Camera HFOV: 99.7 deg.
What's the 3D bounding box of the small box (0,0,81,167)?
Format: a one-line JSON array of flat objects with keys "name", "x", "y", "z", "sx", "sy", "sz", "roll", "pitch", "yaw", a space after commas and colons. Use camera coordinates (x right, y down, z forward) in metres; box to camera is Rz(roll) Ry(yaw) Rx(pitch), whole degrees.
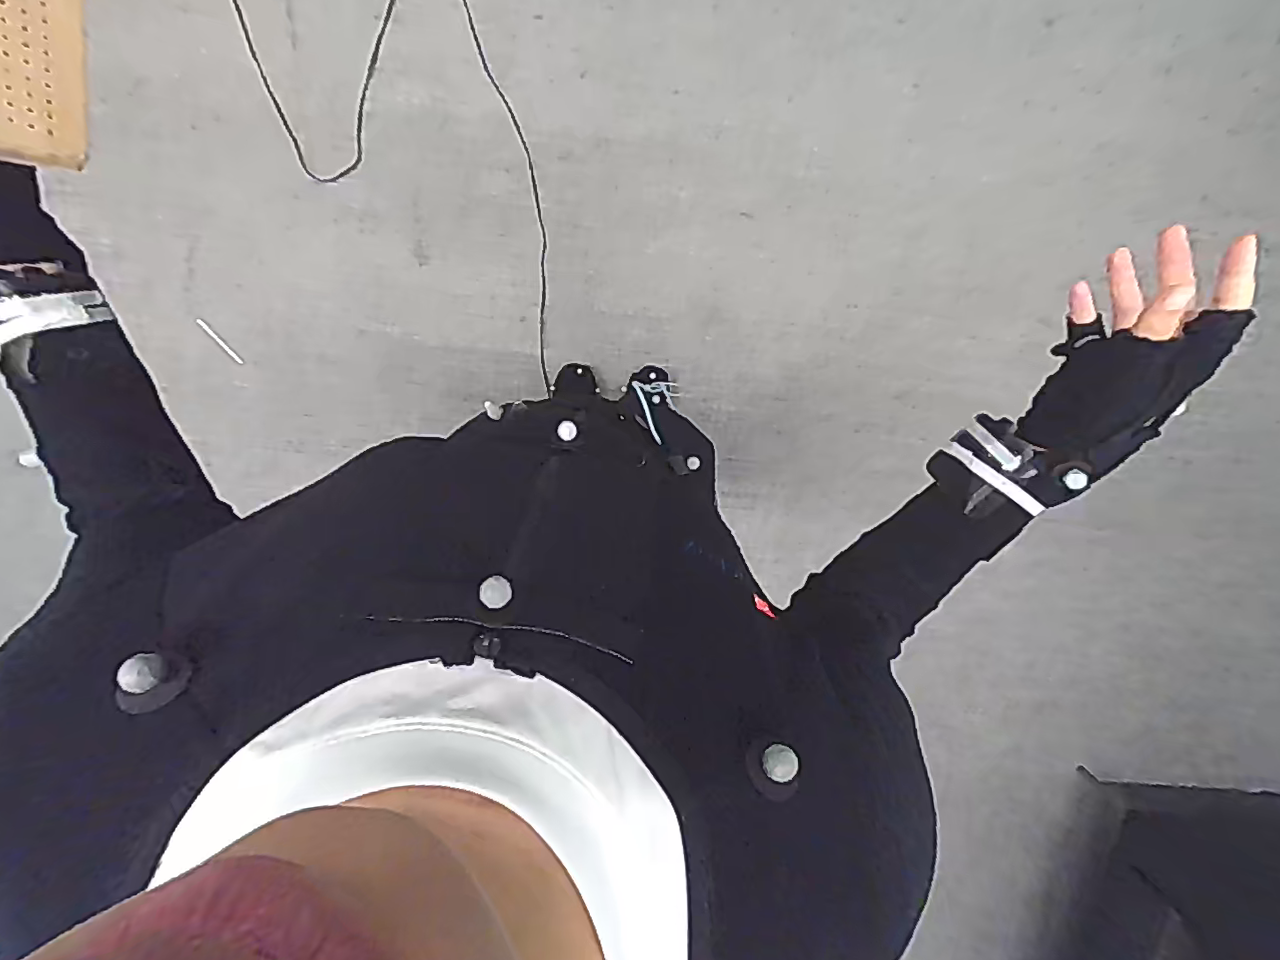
[{"name": "small box", "x": -0.347, "y": -0.242, "z": 0.188, "sx": 0.168, "sy": 0.176, "sz": 0.179, "roll": 18, "pitch": 105, "yaw": 19}]
